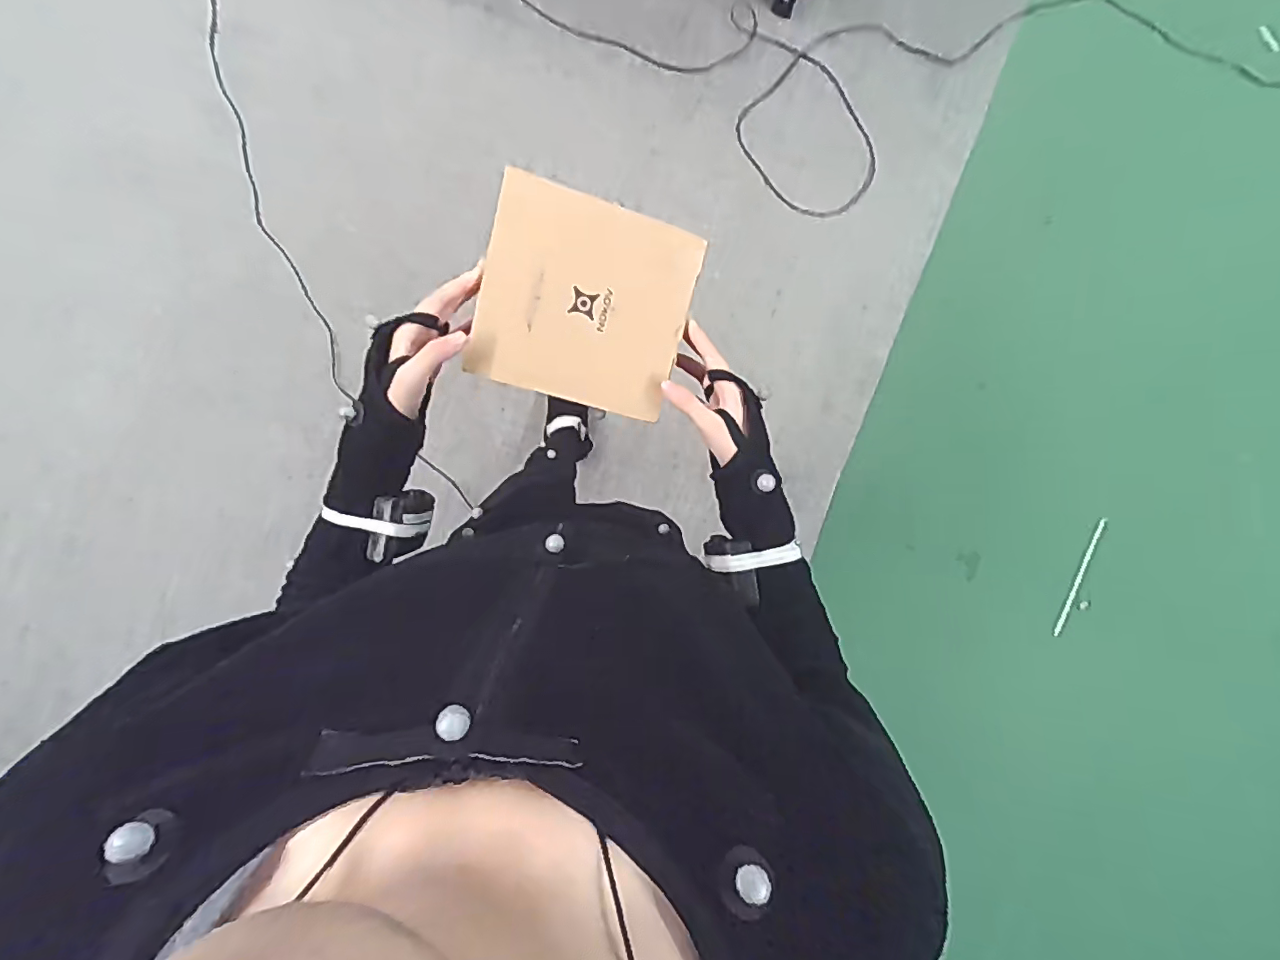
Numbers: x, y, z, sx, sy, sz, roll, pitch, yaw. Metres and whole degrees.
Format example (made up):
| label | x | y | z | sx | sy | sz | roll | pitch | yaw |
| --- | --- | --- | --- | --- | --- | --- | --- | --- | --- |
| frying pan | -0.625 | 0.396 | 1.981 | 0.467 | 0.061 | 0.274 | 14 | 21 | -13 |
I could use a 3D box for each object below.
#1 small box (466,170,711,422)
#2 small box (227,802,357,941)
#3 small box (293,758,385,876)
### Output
| label | x | y | z | sx | sy | sz | roll | pitch | yaw |
| --- | --- | --- | --- | --- | --- | --- | --- | --- | --- |
| small box | -0.056 | -0.167 | 0.534 | 0.179 | 0.176 | 0.168 | 14 | 100 | -13 |
| small box | -0.800 | 0.905 | 1.267 | 0.168 | 0.176 | 0.179 | 27 | 91 | -4 |
| small box | -0.807 | 0.884 | 1.431 | 0.168 | 0.176 | 0.179 | 21 | 92 | -4 |
